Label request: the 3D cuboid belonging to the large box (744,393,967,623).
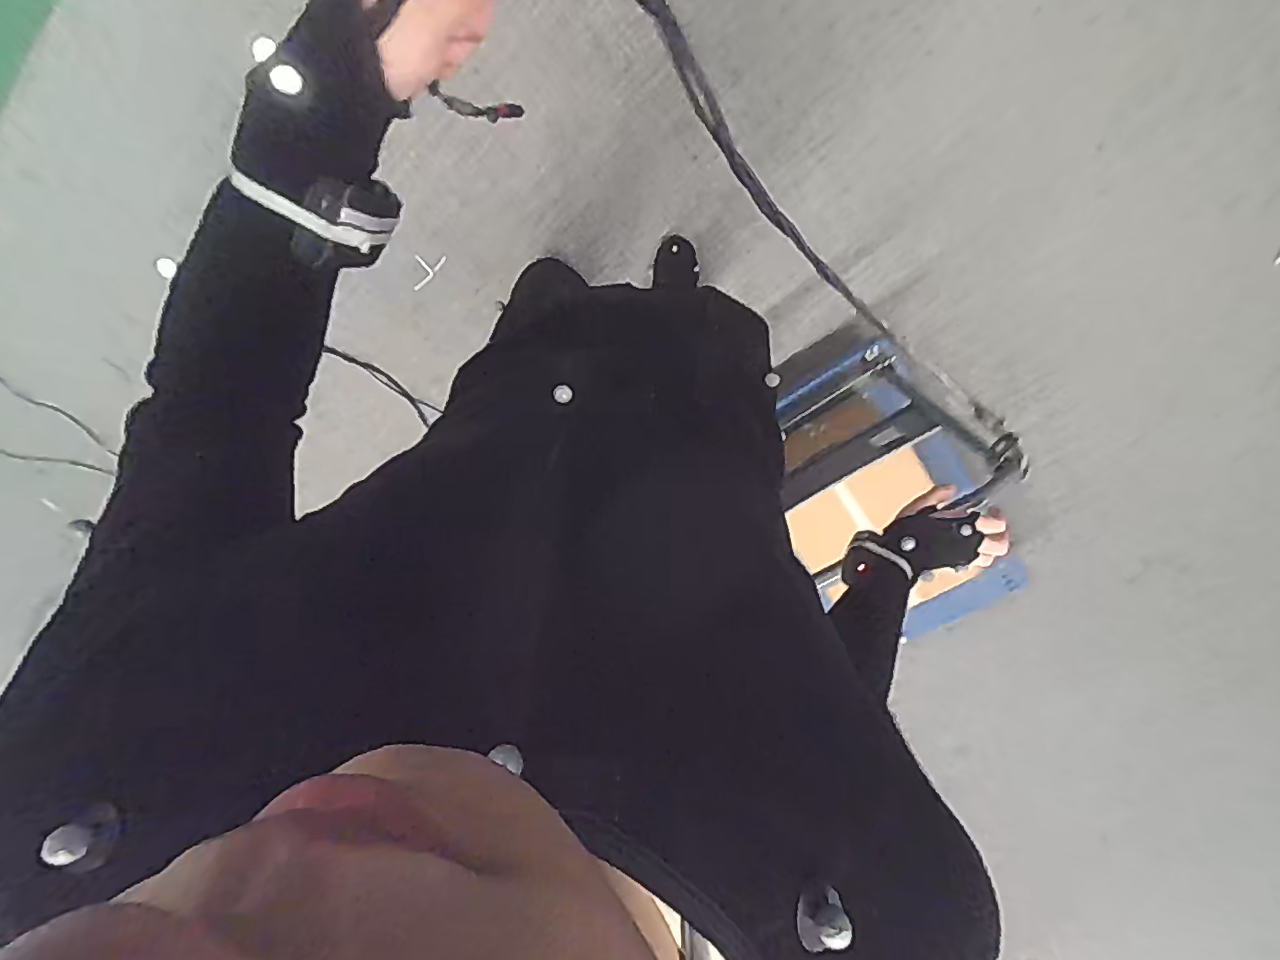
[{"bbox_3d":[0.506,0.060,1.333,0.320,0.320,0.408,-32,109,18],"label":"large box"}]
